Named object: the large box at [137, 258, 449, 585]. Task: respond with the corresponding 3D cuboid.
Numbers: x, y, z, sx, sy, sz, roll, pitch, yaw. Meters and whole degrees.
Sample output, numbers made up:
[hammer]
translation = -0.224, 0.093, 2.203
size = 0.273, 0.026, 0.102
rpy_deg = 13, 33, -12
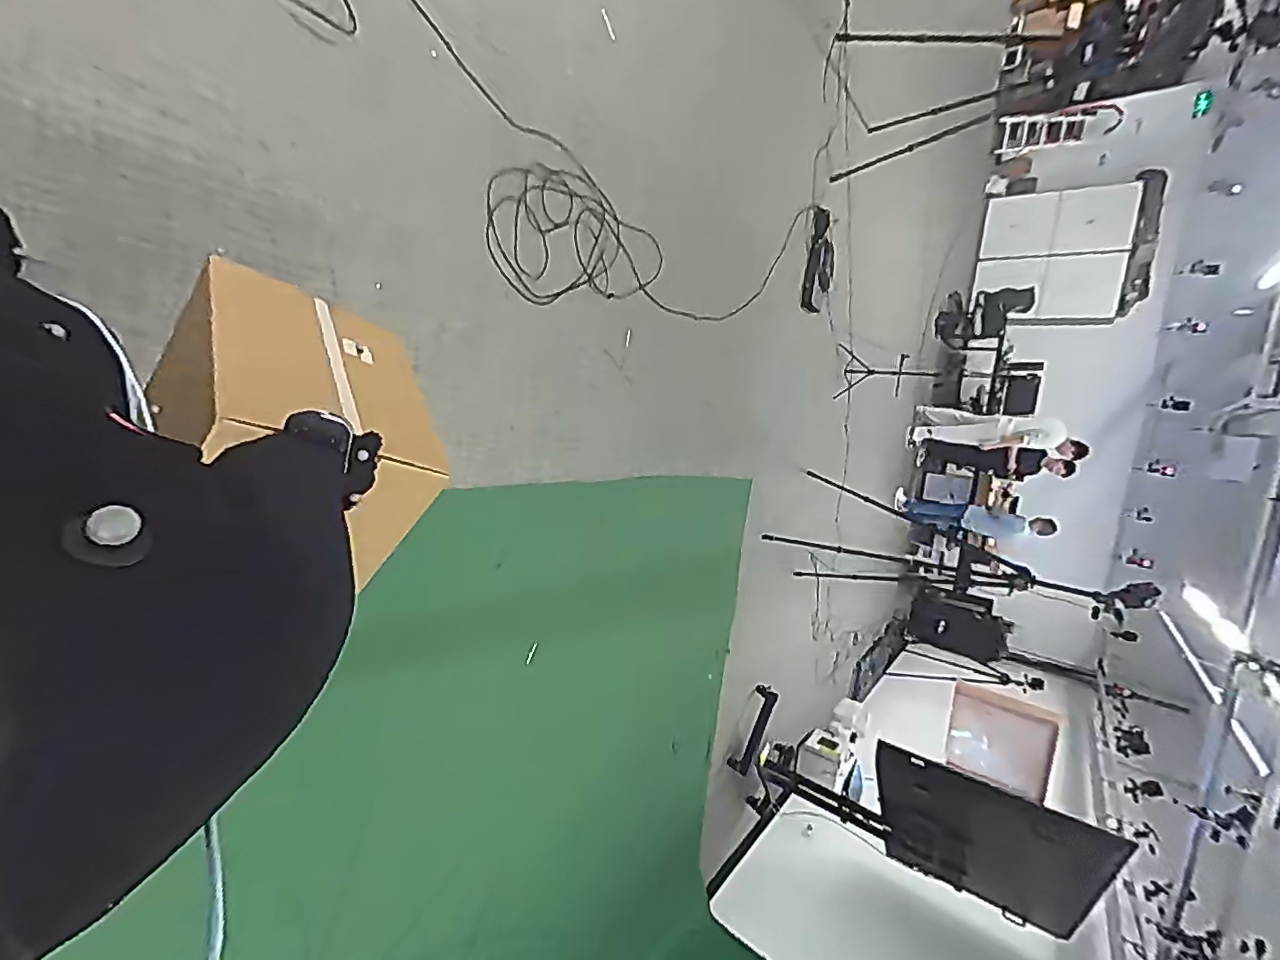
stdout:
[large box]
translation = -0.583, -0.077, 0.898
size = 0.320, 0.408, 0.320
rpy_deg = -46, 144, 18
